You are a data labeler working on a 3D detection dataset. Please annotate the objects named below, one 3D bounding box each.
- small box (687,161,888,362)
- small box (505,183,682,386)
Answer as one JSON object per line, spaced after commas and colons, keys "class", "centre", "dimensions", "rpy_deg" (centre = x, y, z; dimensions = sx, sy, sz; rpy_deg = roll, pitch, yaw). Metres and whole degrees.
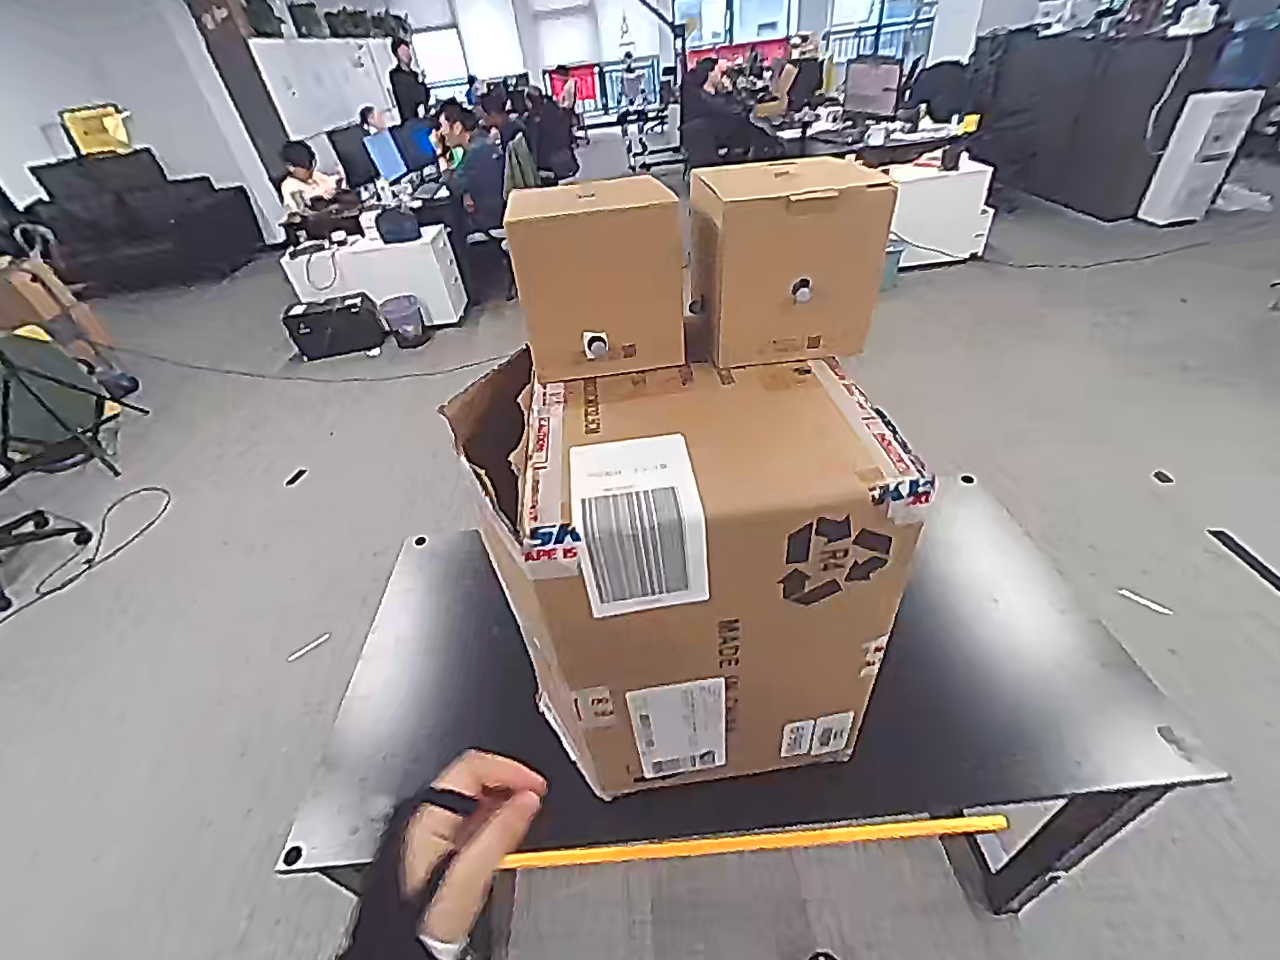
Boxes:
{"class": "small box", "centre": [0.148, -0.242, 0.610], "dimensions": [0.168, 0.176, 0.179], "rpy_deg": [-6, 39, -2]}
{"class": "small box", "centre": [-0.050, -0.226, 0.618], "dimensions": [0.168, 0.176, 0.179], "rpy_deg": [-10, 38, -4]}
